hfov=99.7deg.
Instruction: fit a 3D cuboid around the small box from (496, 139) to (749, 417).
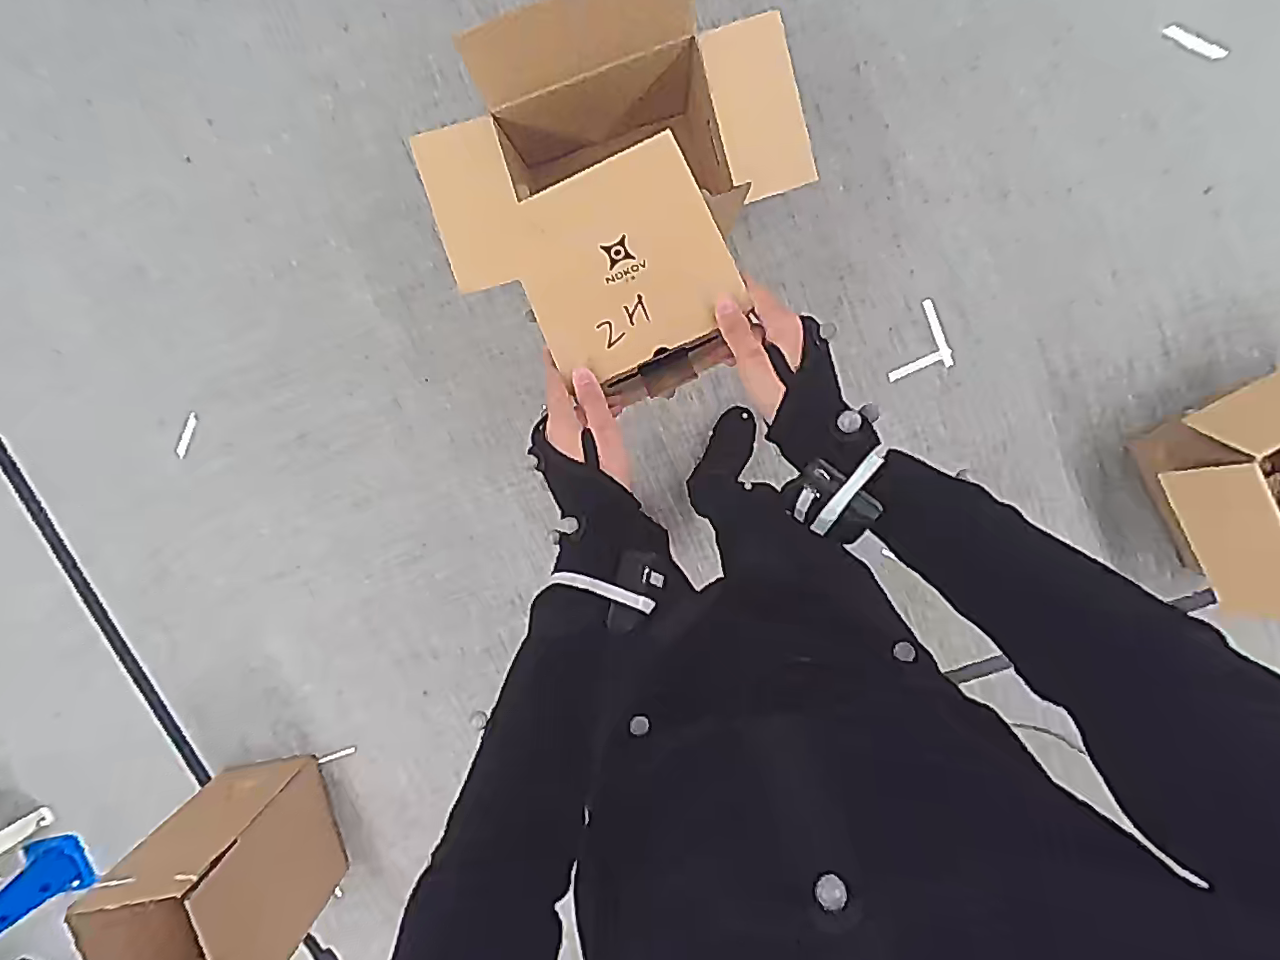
[{"bbox_3d":[-0.012,-0.175,0.531,0.168,0.176,0.179,-24,91,4],"label":"small box"}]
